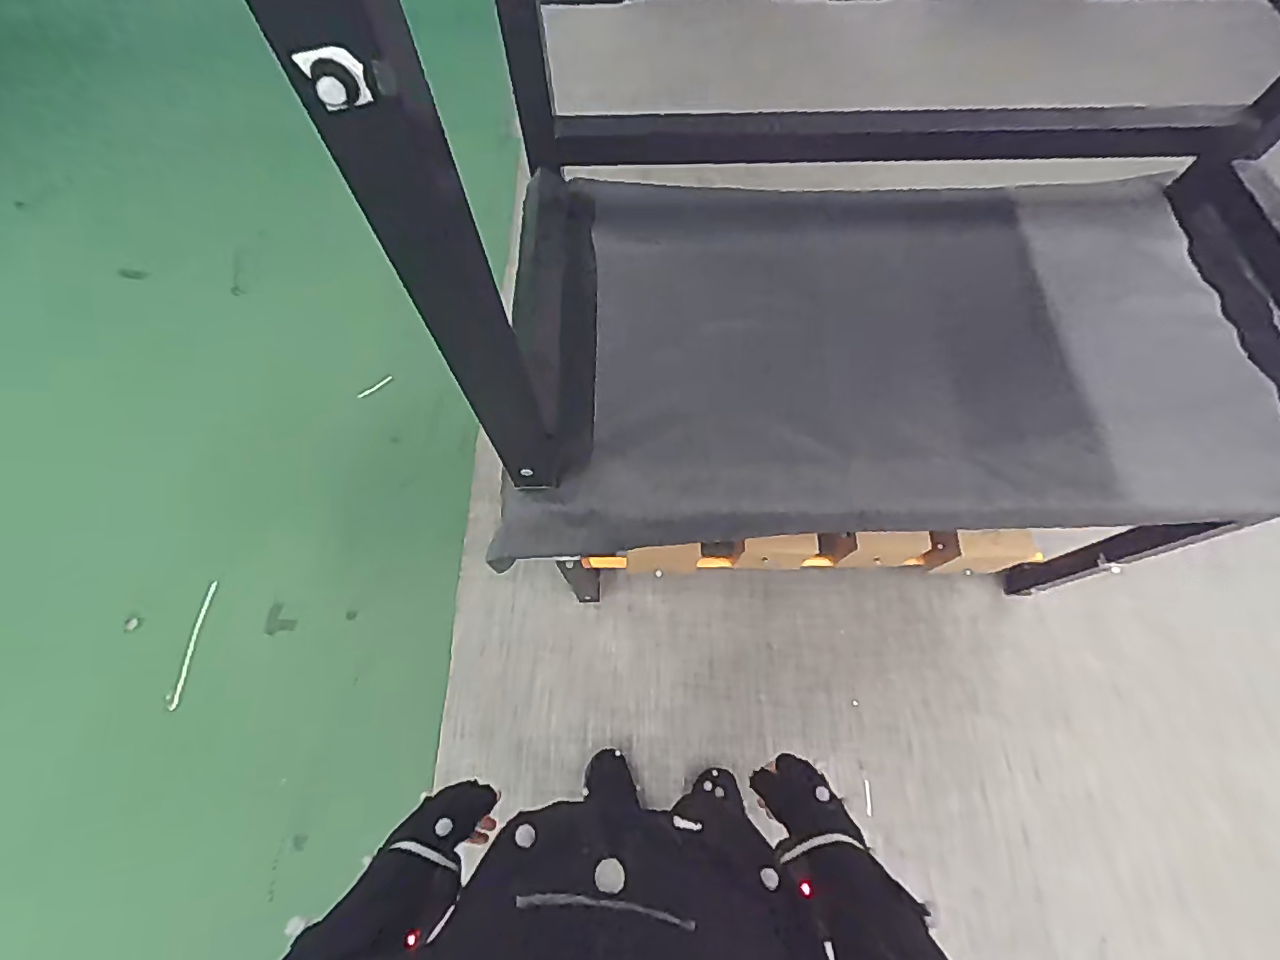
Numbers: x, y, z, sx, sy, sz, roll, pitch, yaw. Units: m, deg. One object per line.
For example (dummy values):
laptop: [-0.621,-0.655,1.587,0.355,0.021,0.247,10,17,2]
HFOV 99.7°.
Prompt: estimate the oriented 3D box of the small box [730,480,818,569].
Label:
small box: [0.311,0.113,1.290,0.168,0.176,0.179,1,67,0]

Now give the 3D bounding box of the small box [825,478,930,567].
small box: [0.557,0.107,1.291,0.168,0.176,0.179,-1,67,0]
